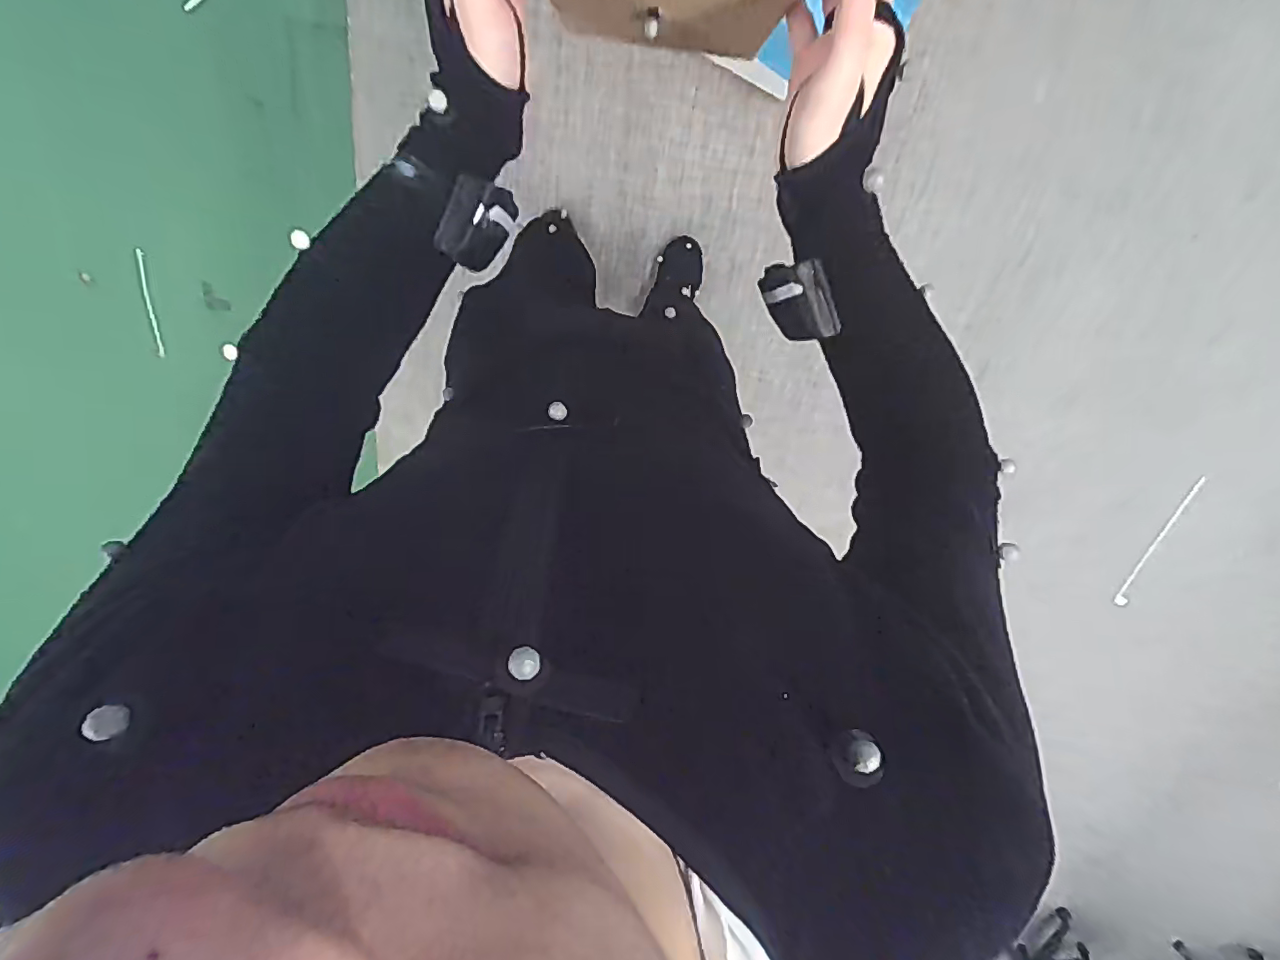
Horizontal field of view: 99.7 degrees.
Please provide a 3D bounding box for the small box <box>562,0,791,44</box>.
[{"bbox_3d":[0.030,-0.433,0.376,0.179,0.176,0.168,7,116,-2],"label":"small box"}]
